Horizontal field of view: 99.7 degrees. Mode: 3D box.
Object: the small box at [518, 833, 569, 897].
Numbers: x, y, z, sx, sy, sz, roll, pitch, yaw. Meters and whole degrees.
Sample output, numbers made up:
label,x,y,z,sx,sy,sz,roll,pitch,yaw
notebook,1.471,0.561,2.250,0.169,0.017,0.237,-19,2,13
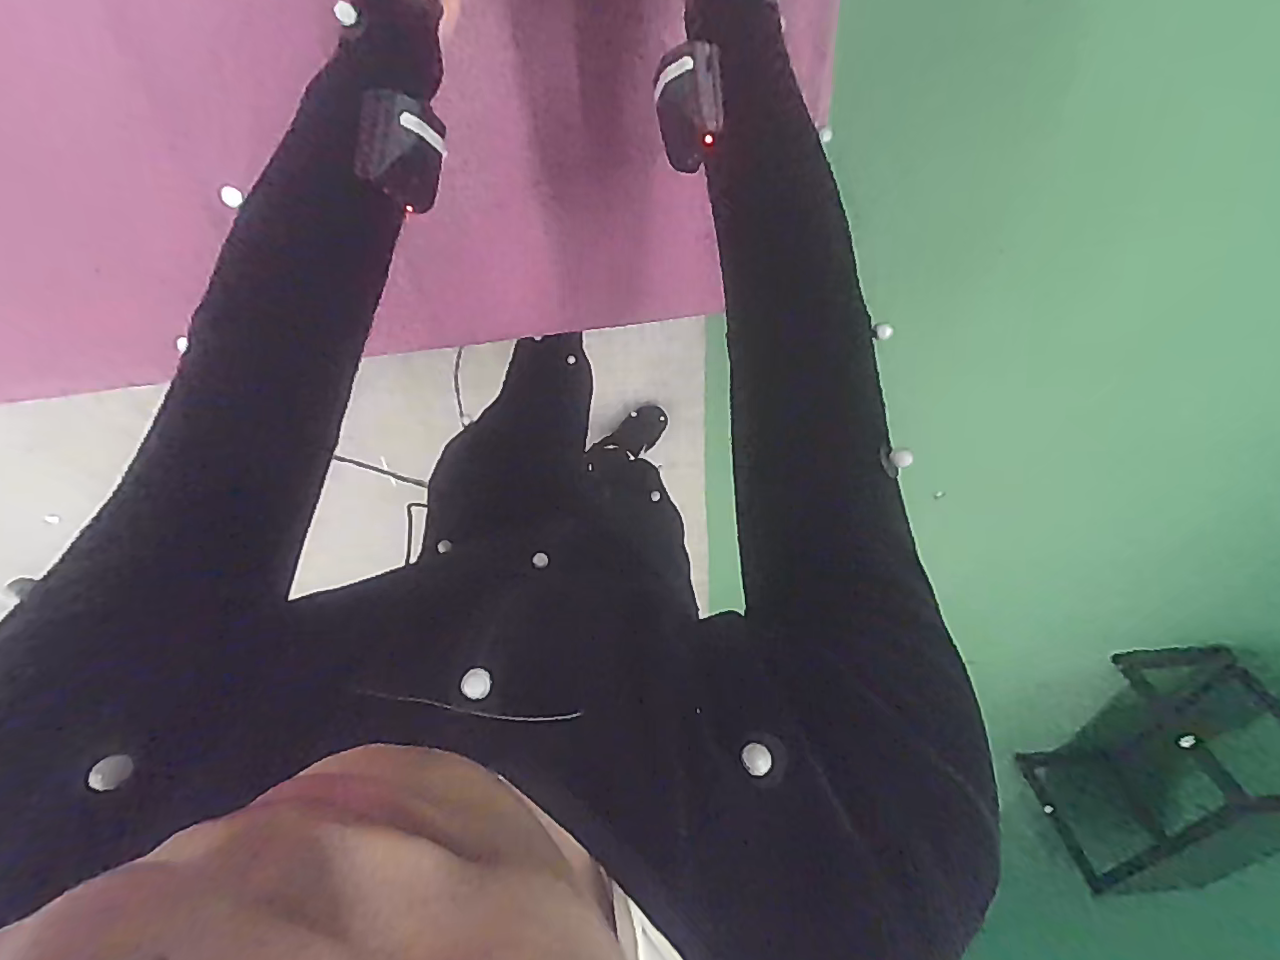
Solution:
label,x,y,z,sx,sy,sz,roll,pitch,yaw
small box,-0.361,1.468,2.055,0.168,0.176,0.179,-3,129,-3
